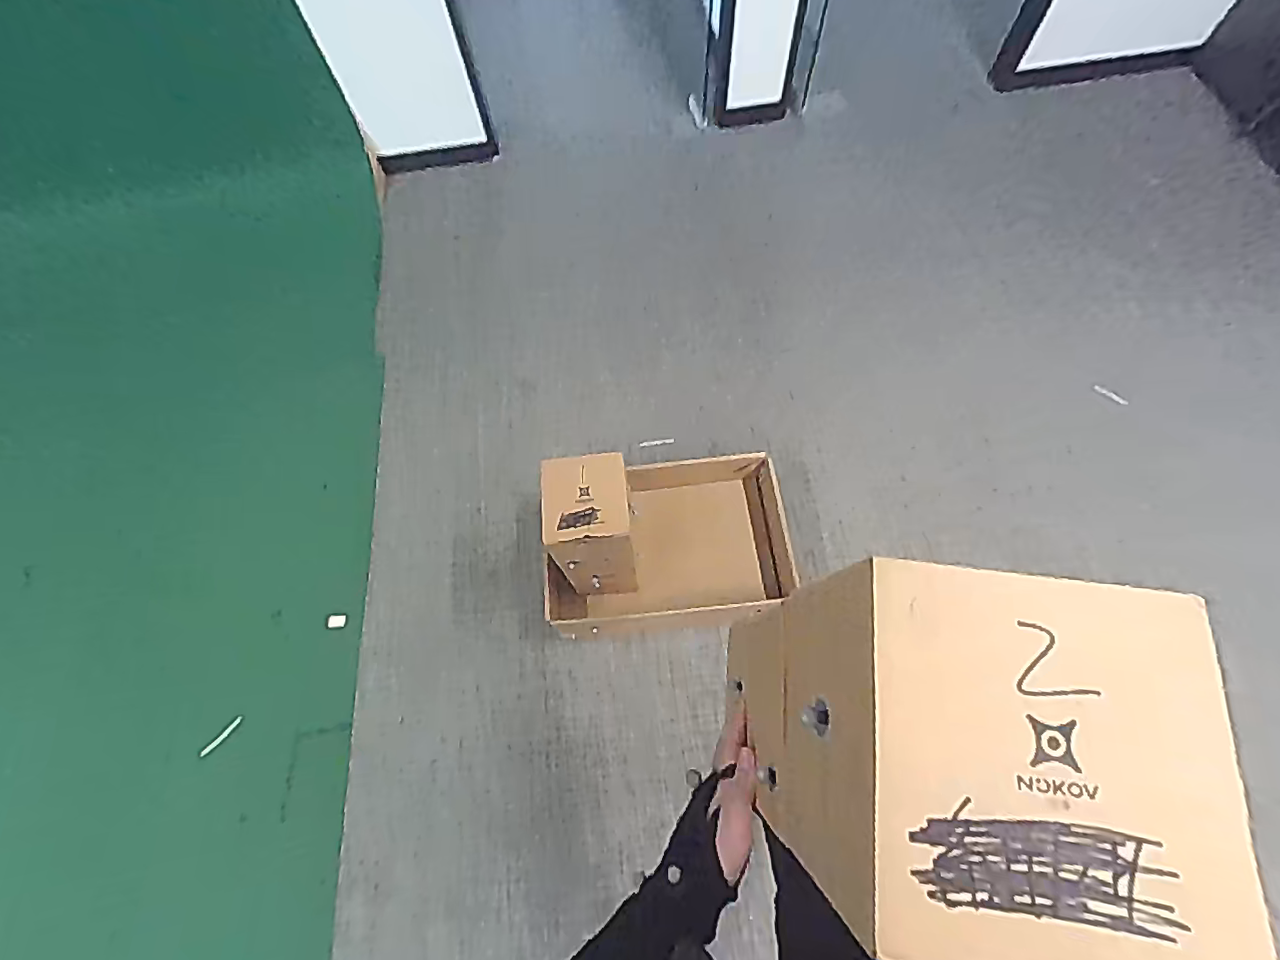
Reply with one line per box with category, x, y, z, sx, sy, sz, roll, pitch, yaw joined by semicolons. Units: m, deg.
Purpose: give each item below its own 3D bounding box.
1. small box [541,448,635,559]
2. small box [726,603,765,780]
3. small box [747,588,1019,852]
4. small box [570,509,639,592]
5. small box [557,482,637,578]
small box;-0.102;0.056;1.096;0.168;0.176;0.179;-6;66;0
small box;0.196;0.250;0.638;0.168;0.176;0.179;5;72;3
small box;0.193;0.199;0.485;0.168;0.176;0.179;4;73;1
small box;-0.090;0.181;1.399;0.168;0.176;0.179;-4;66;0
small box;-0.095;0.118;1.248;0.168;0.176;0.179;-4;67;1
